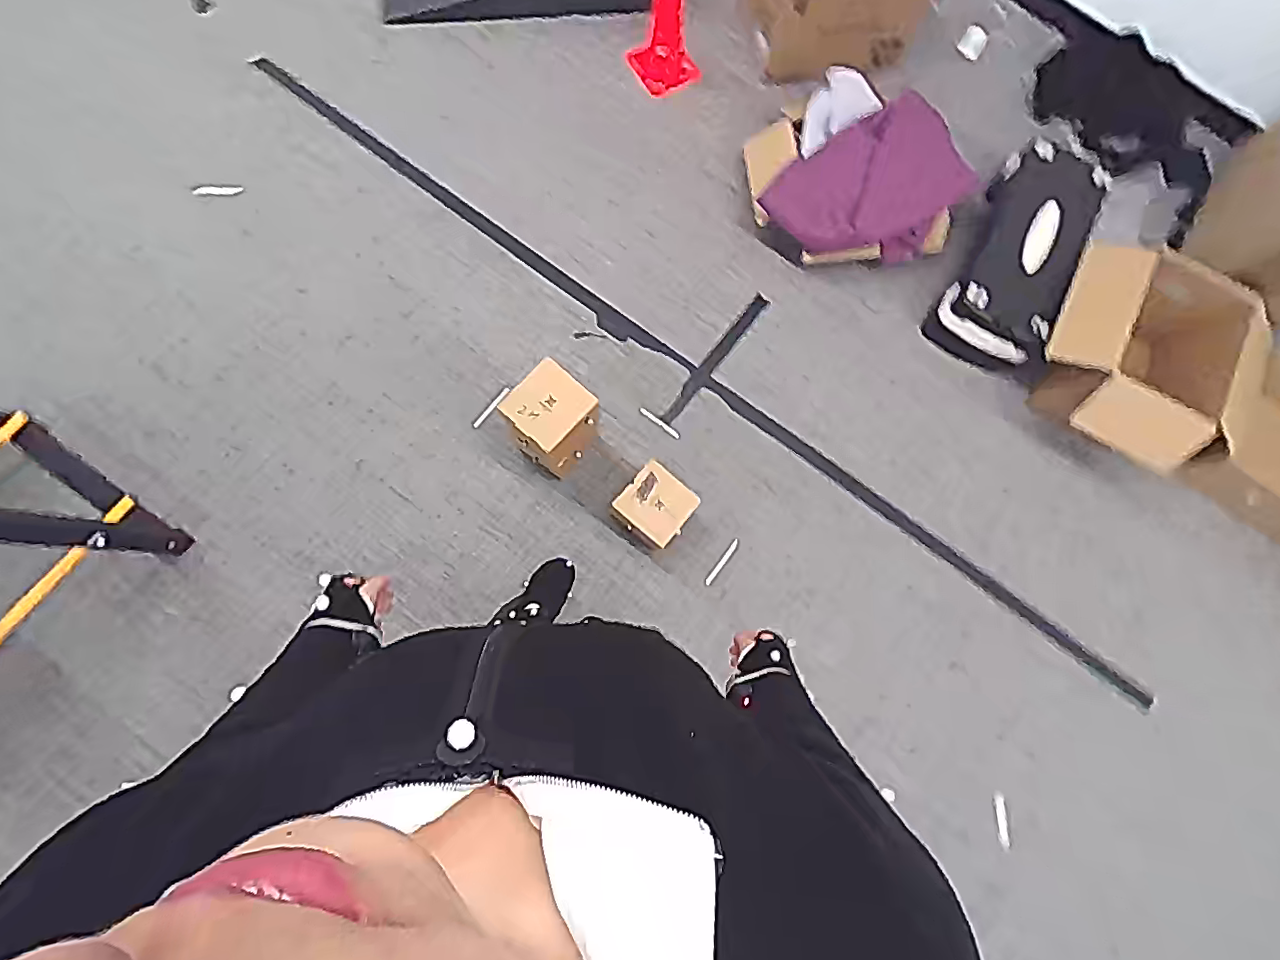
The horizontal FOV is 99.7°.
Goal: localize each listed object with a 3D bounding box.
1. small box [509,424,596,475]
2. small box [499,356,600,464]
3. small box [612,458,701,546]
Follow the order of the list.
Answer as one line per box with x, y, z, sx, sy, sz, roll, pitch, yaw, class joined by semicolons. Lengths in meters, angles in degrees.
-0.230;-0.133;1.490;0.168;0.176;0.179;37;80;3;small box
-0.216;-0.164;1.328;0.168;0.176;0.179;42;80;5;small box
0.036;0.069;1.474;0.179;0.176;0.168;41;80;3;small box
